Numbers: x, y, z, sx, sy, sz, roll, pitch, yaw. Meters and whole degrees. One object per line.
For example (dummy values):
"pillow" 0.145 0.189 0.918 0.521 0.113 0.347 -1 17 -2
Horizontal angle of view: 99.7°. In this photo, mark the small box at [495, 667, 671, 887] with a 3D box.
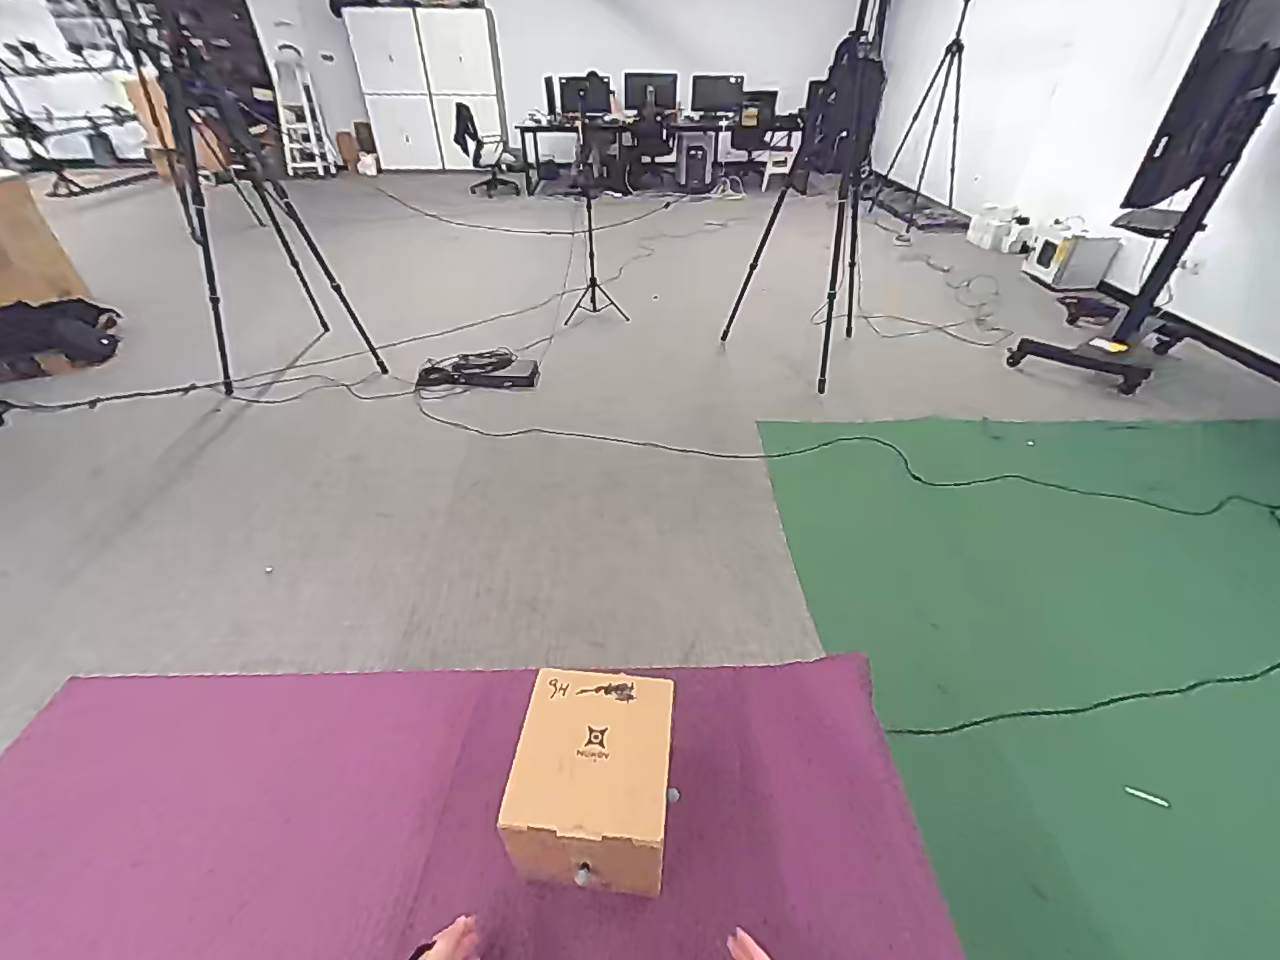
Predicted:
"small box" -0.051 0.350 0.638 0.168 0.176 0.179 4 40 5
